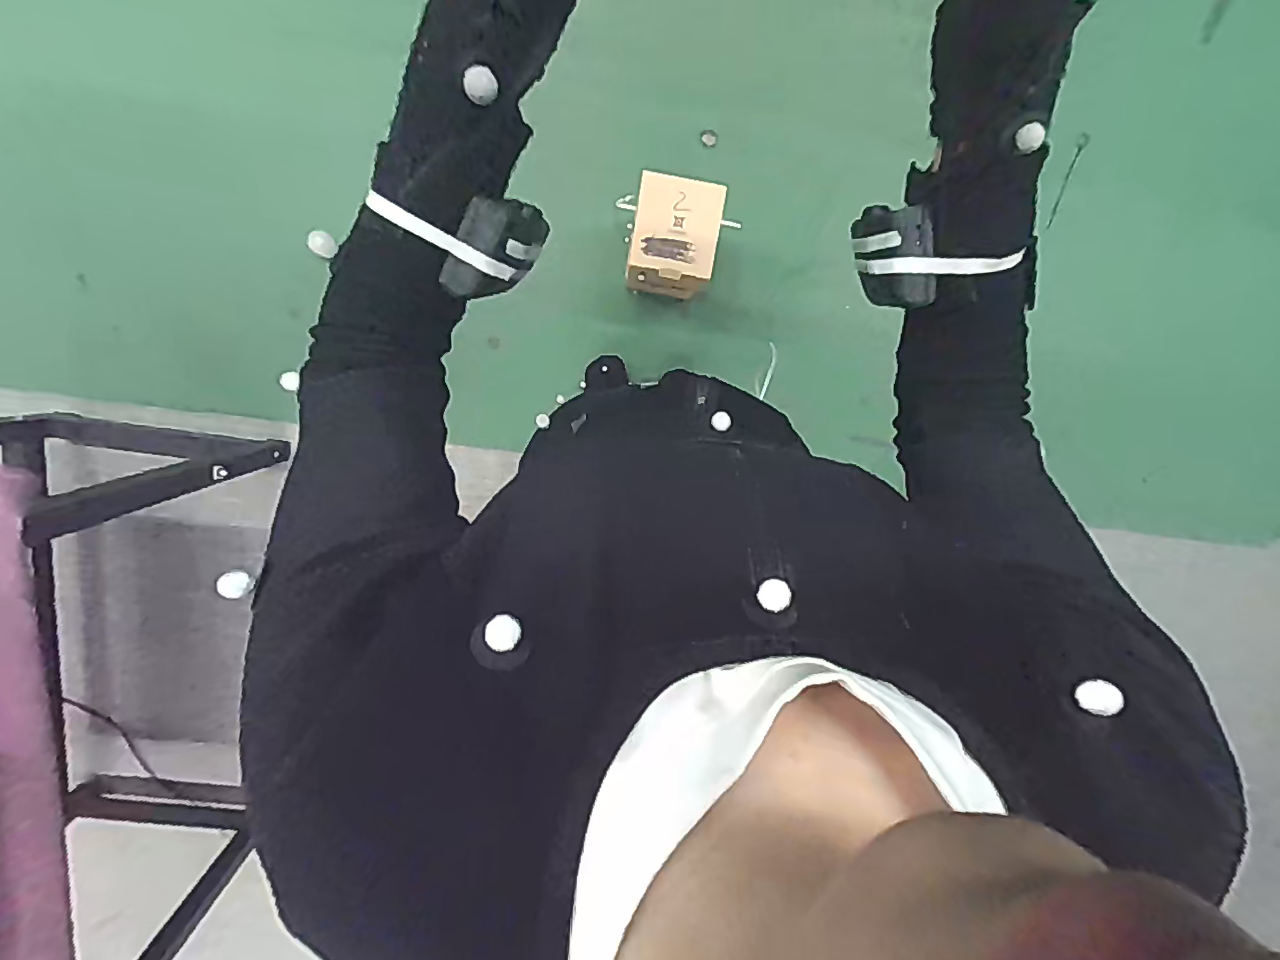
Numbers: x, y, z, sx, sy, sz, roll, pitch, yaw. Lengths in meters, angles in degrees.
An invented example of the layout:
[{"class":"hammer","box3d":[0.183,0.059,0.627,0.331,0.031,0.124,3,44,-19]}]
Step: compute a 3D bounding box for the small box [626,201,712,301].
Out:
[{"class":"small box","box3d":[0.062,-0.533,1.289,0.168,0.176,0.179,9,101,-5]}]
